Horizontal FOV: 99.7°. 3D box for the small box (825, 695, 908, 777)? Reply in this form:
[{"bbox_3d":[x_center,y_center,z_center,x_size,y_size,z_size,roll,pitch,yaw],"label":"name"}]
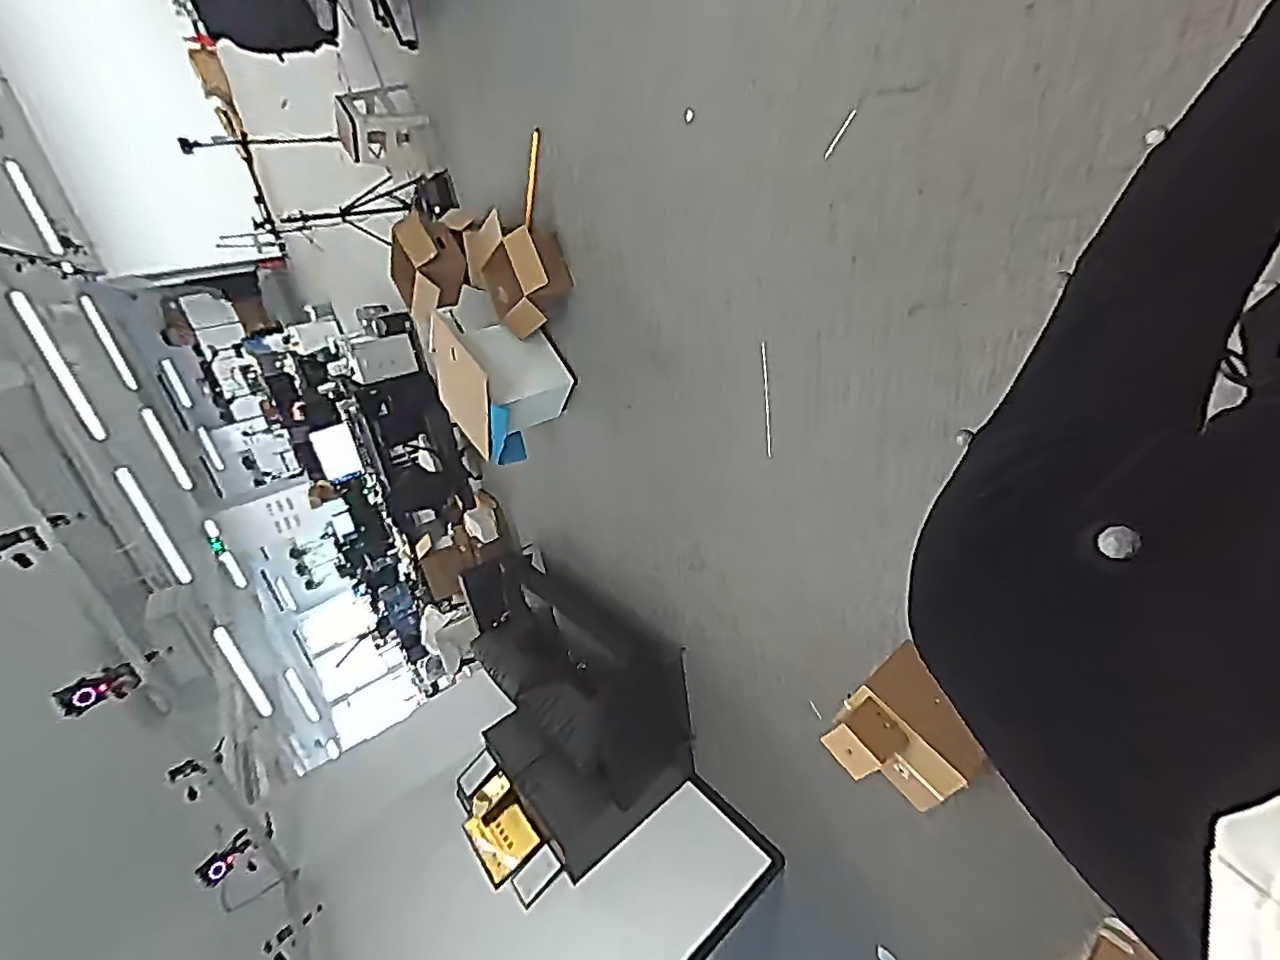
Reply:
[{"bbox_3d":[0.785,0.881,1.865,0.168,0.176,0.179,47,142,25],"label":"small box"}]

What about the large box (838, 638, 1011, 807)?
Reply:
[{"bbox_3d":[1.023,0.871,1.976,0.408,0.320,0.320,42,143,30],"label":"large box"}]
